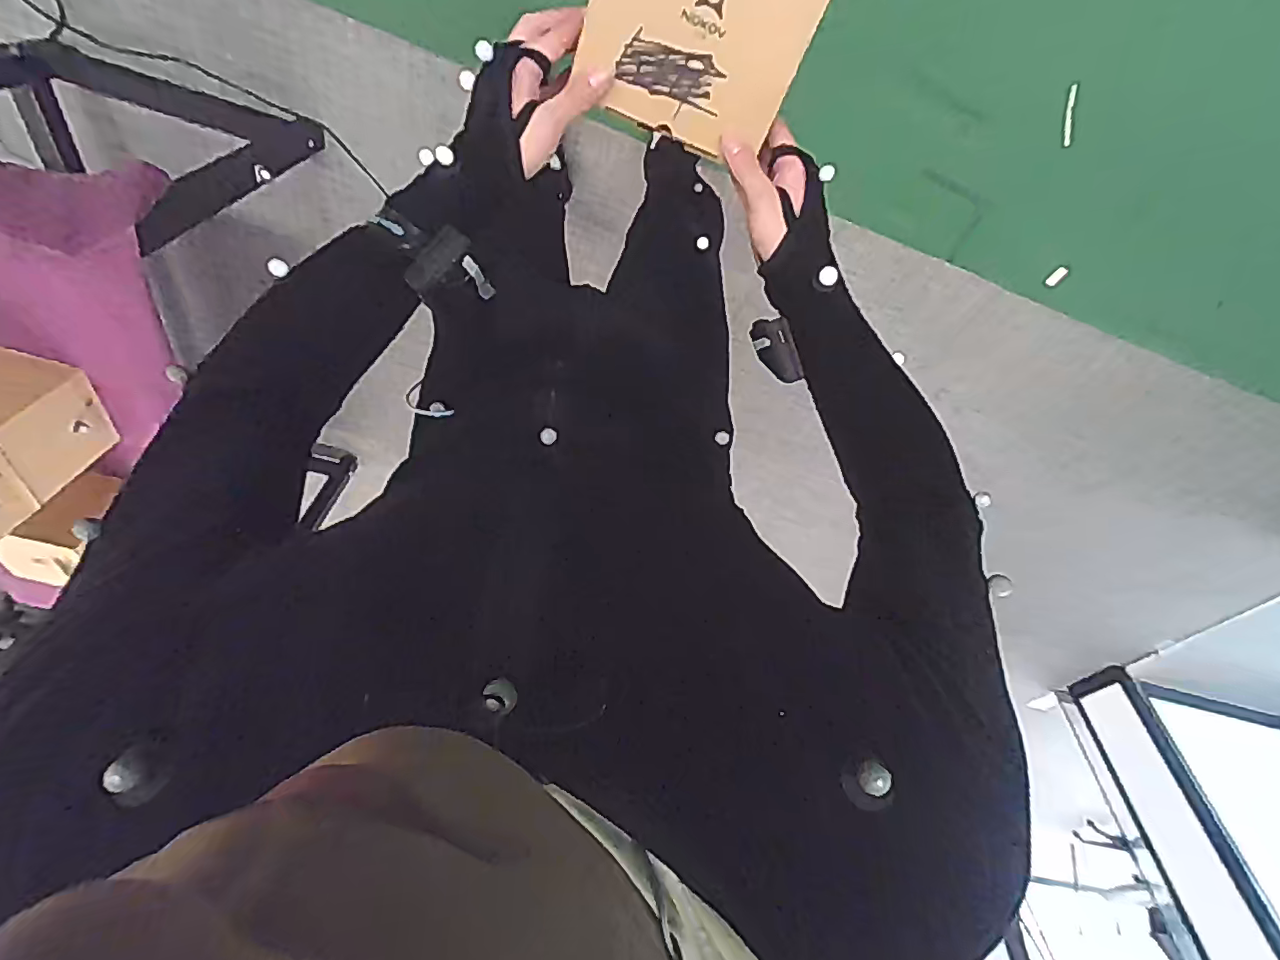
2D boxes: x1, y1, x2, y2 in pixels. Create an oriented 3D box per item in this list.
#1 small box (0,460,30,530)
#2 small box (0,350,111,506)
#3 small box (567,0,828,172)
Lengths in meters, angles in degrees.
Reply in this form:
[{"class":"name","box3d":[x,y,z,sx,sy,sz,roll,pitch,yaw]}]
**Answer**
[{"class":"small box","box3d":[-1.031,0.024,0.738,0.179,0.176,0.168,16,134,-10]},{"class":"small box","box3d":[-1.014,-0.091,0.852,0.179,0.176,0.168,16,135,-10]},{"class":"small box","box3d":[0.045,-0.402,0.456,0.168,0.176,0.179,14,130,-17]}]
